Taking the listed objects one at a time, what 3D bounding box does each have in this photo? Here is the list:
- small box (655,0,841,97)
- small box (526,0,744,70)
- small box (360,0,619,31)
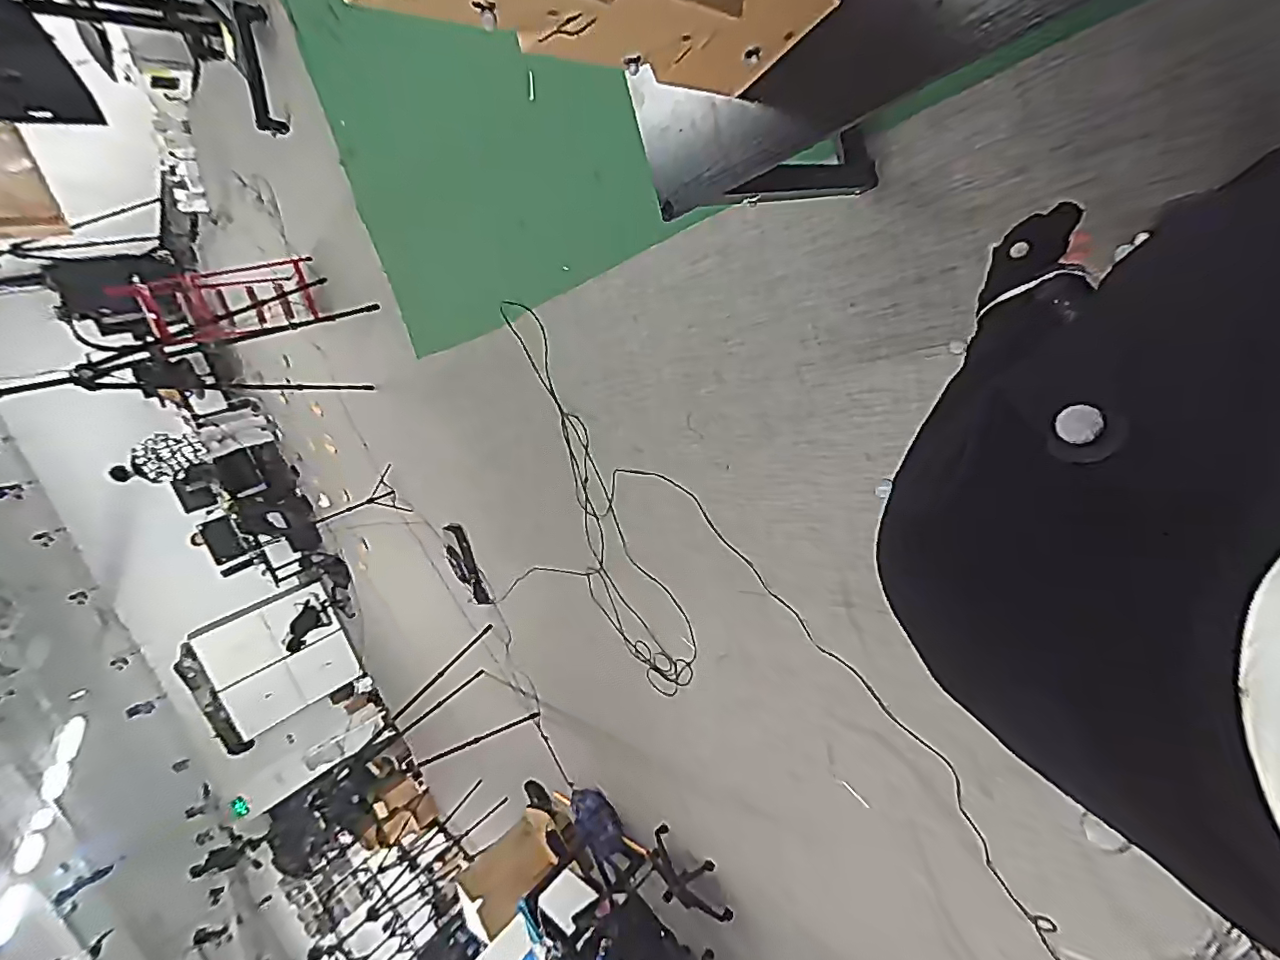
[{"bbox_3d":[0.104,-0.589,0.632,0.168,0.176,0.179,-15,101,49],"label":"small box"},{"bbox_3d":[-0.010,-0.531,0.529,0.168,0.176,0.179,13,120,41],"label":"small box"},{"bbox_3d":[-0.125,-0.477,0.425,0.168,0.176,0.179,24,129,35],"label":"small box"}]
